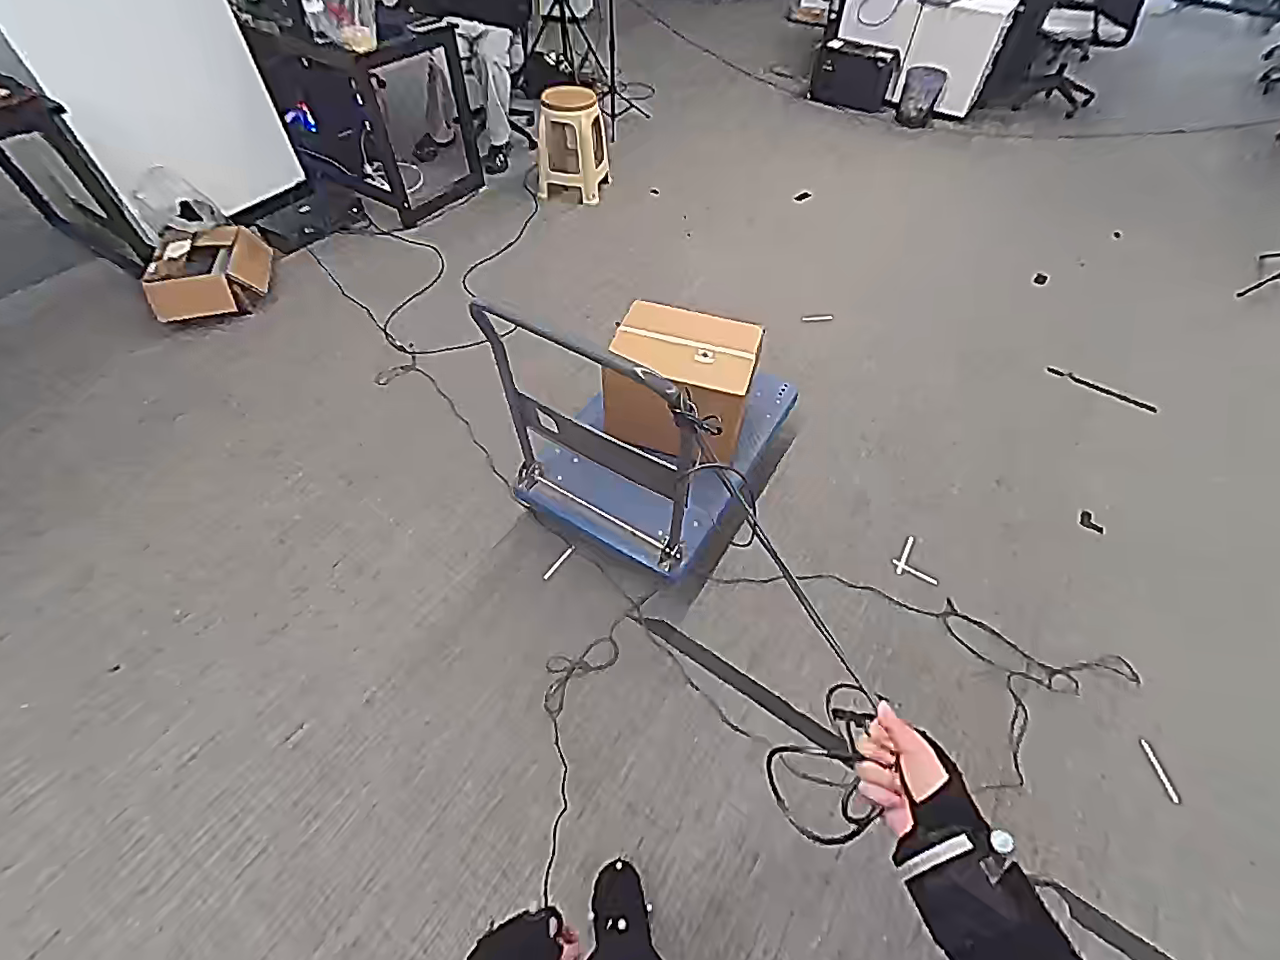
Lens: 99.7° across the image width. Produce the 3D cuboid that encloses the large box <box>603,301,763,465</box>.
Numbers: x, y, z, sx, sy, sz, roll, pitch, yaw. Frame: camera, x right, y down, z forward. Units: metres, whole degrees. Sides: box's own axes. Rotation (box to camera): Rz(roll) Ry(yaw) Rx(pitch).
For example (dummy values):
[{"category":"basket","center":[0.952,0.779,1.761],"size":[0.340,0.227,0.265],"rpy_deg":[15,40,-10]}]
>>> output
[{"category":"large box","center":[0.122,-0.292,1.644],"size":[0.408,0.320,0.320],"rpy_deg":[15,55,9]}]
